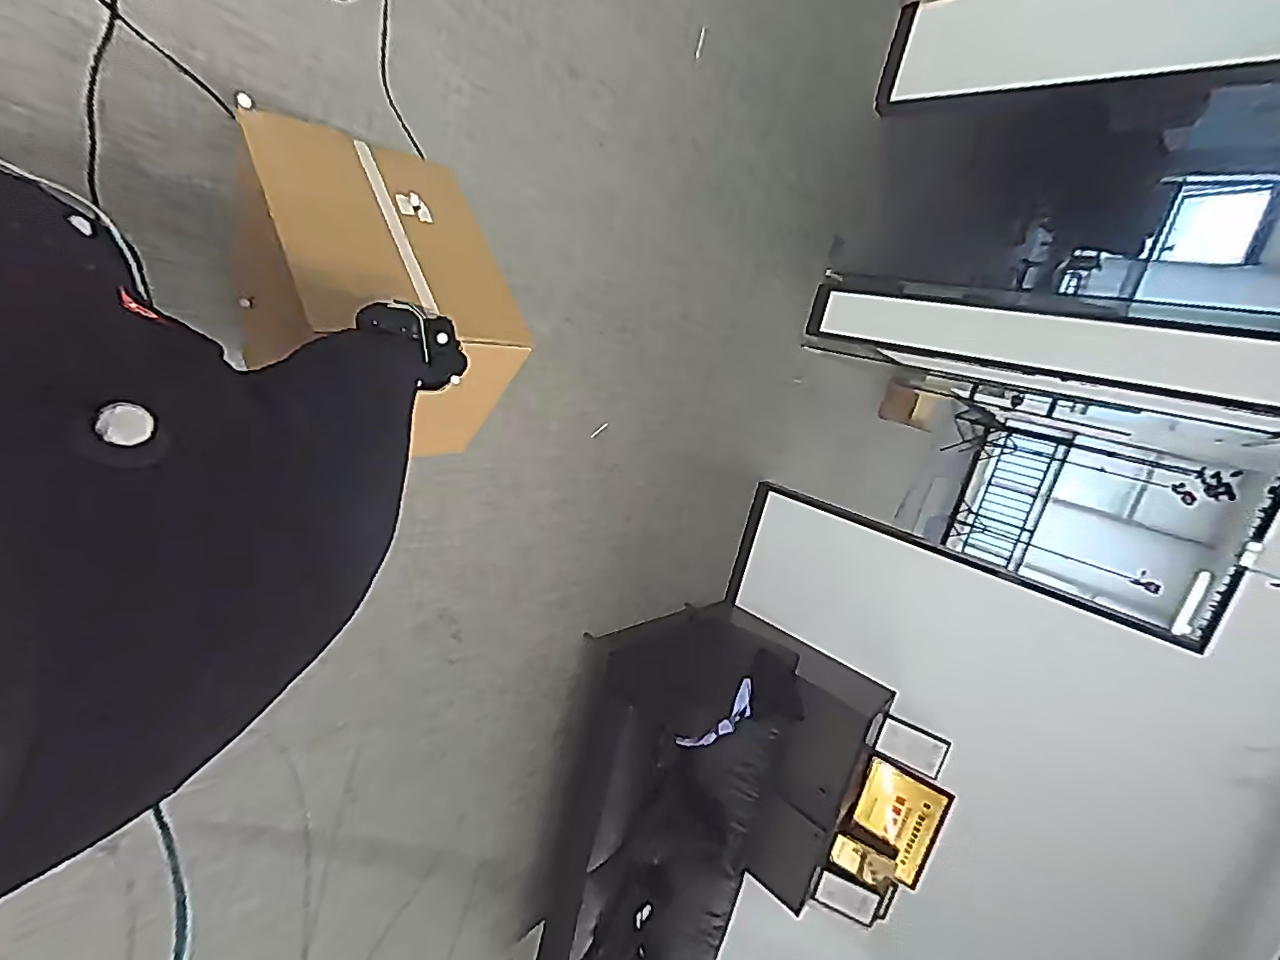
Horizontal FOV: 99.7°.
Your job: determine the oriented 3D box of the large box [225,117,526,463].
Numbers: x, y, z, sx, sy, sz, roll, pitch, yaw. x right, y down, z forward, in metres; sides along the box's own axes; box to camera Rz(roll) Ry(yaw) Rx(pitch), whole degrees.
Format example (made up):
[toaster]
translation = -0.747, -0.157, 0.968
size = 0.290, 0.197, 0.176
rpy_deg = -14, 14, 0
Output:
[large box]
translation = -0.455, -0.285, 0.904
size = 0.320, 0.408, 0.320
rpy_deg = -9, 156, -46
